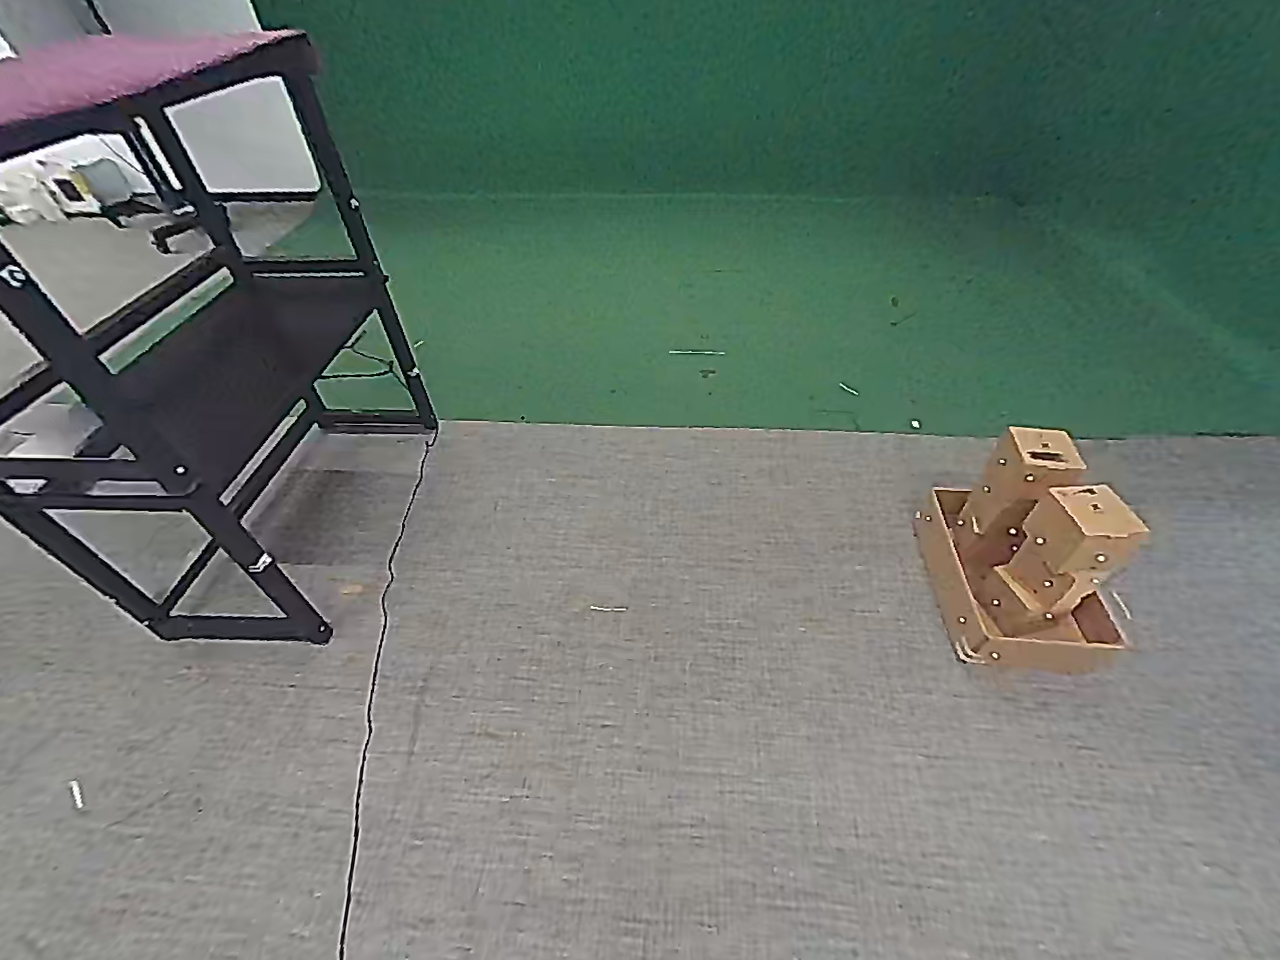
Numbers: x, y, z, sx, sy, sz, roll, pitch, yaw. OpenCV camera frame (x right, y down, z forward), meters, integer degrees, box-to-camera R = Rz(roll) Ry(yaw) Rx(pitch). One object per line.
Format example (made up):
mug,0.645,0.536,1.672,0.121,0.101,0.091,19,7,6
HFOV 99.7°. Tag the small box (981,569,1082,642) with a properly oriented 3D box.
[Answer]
small box,1.219,0.391,1.706,0.179,0.176,0.168,-8,44,-7

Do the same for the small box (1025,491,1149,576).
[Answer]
small box,1.214,0.151,1.485,0.168,0.176,0.179,-3,45,0

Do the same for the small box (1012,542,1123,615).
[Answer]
small box,1.246,0.270,1.596,0.179,0.176,0.168,-16,46,-14
